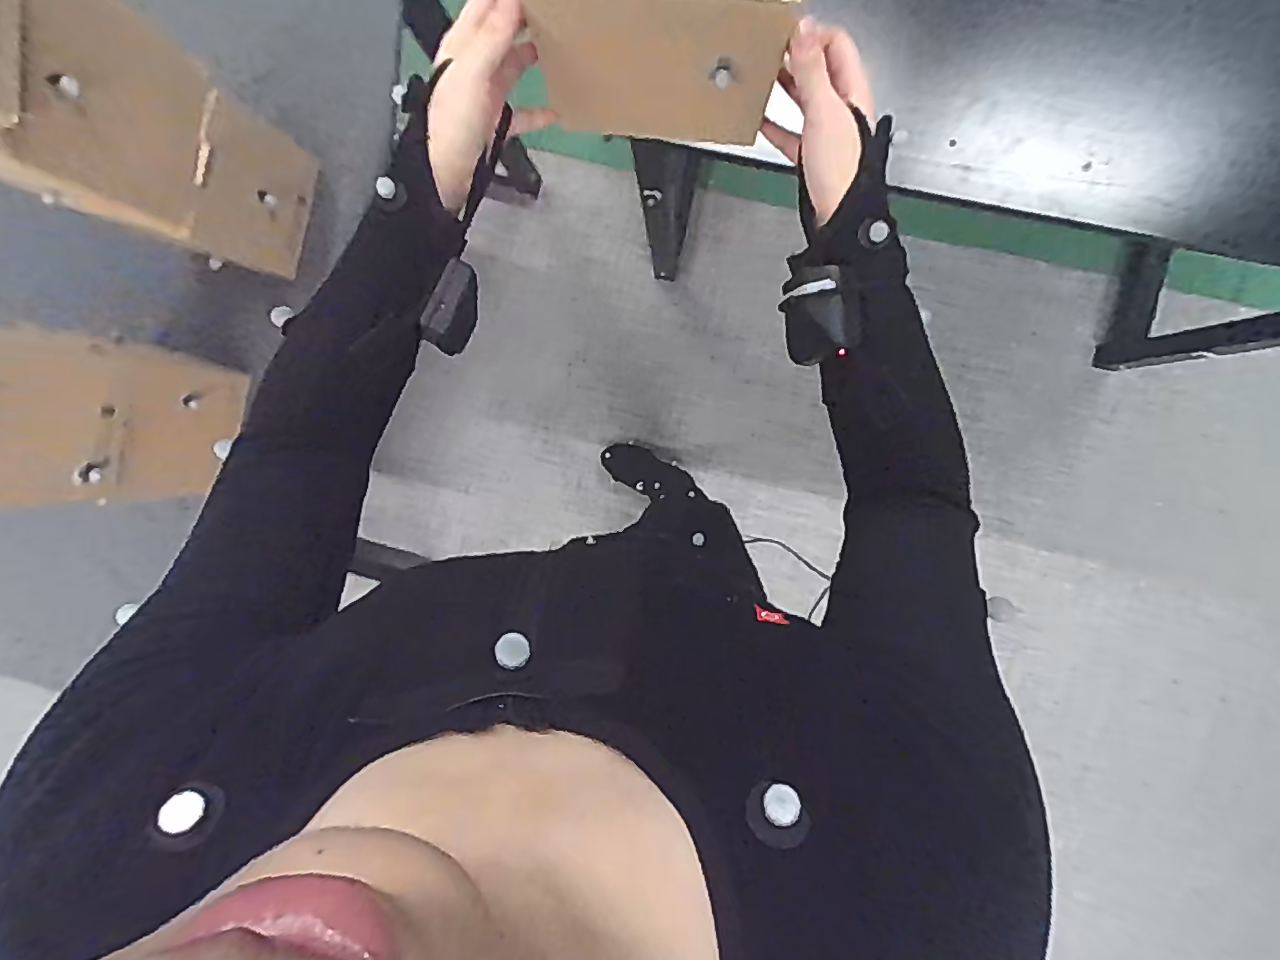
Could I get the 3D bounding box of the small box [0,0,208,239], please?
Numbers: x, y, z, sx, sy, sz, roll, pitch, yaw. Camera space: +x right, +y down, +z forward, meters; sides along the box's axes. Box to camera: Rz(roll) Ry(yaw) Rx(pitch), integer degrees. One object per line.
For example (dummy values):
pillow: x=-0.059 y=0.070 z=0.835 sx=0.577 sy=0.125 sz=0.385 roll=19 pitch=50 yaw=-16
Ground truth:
small box: x=-0.561 y=-0.360 z=0.514 sx=0.168 sy=0.176 sz=0.179 roll=15 pitch=97 yaw=5

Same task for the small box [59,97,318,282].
small box: x=-0.546 y=-0.364 z=0.676 sx=0.179 sy=0.176 sz=0.168 roll=17 pitch=97 yaw=4
